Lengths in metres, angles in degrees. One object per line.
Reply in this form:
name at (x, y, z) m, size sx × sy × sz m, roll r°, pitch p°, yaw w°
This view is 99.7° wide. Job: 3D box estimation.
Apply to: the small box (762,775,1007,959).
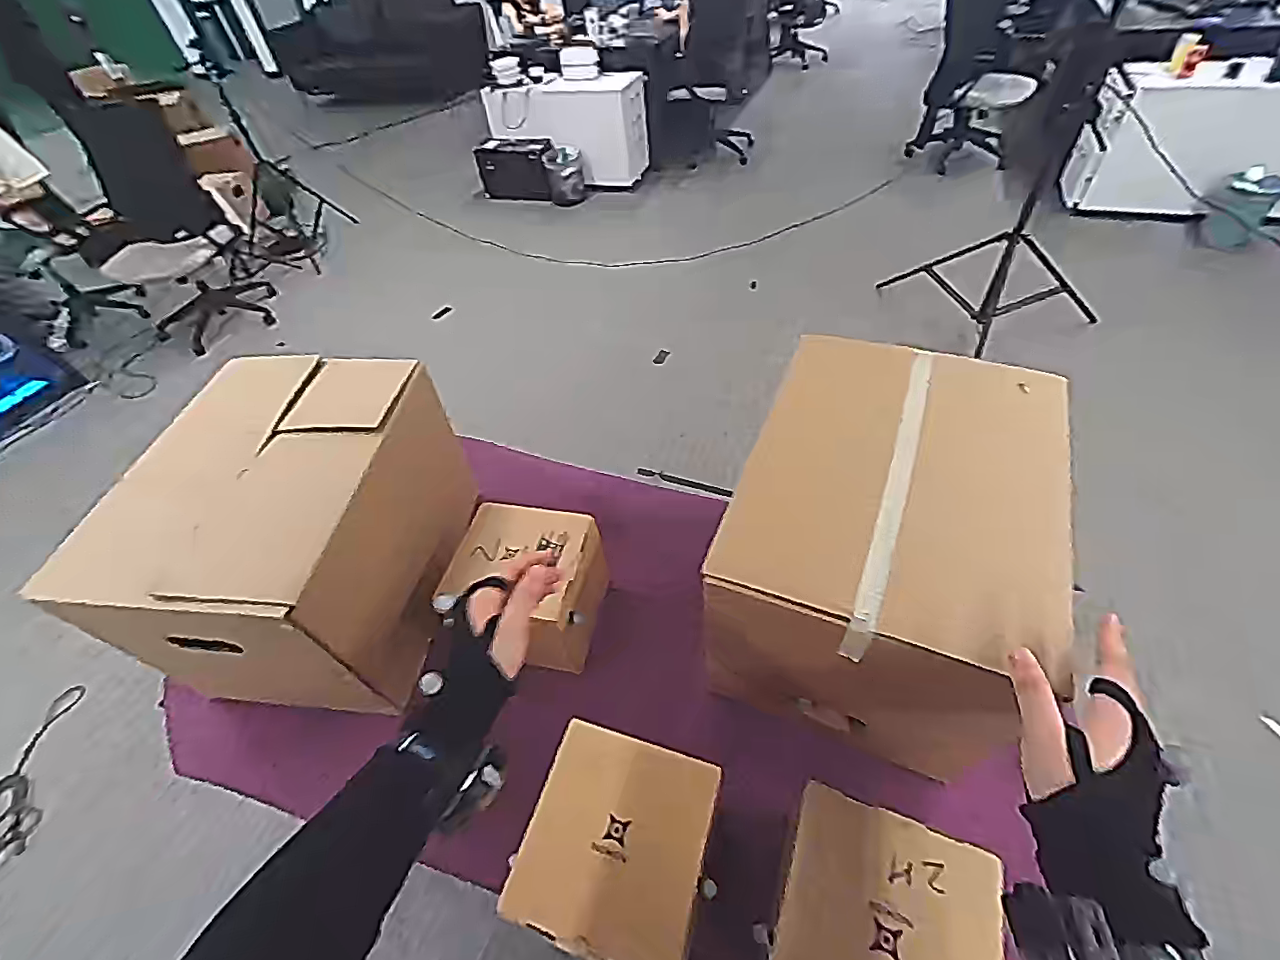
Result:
small box at (0.213, 0.416, 0.498) m, size 0.168 × 0.176 × 0.179 m, roll 14°, pitch 50°, yaw 20°
